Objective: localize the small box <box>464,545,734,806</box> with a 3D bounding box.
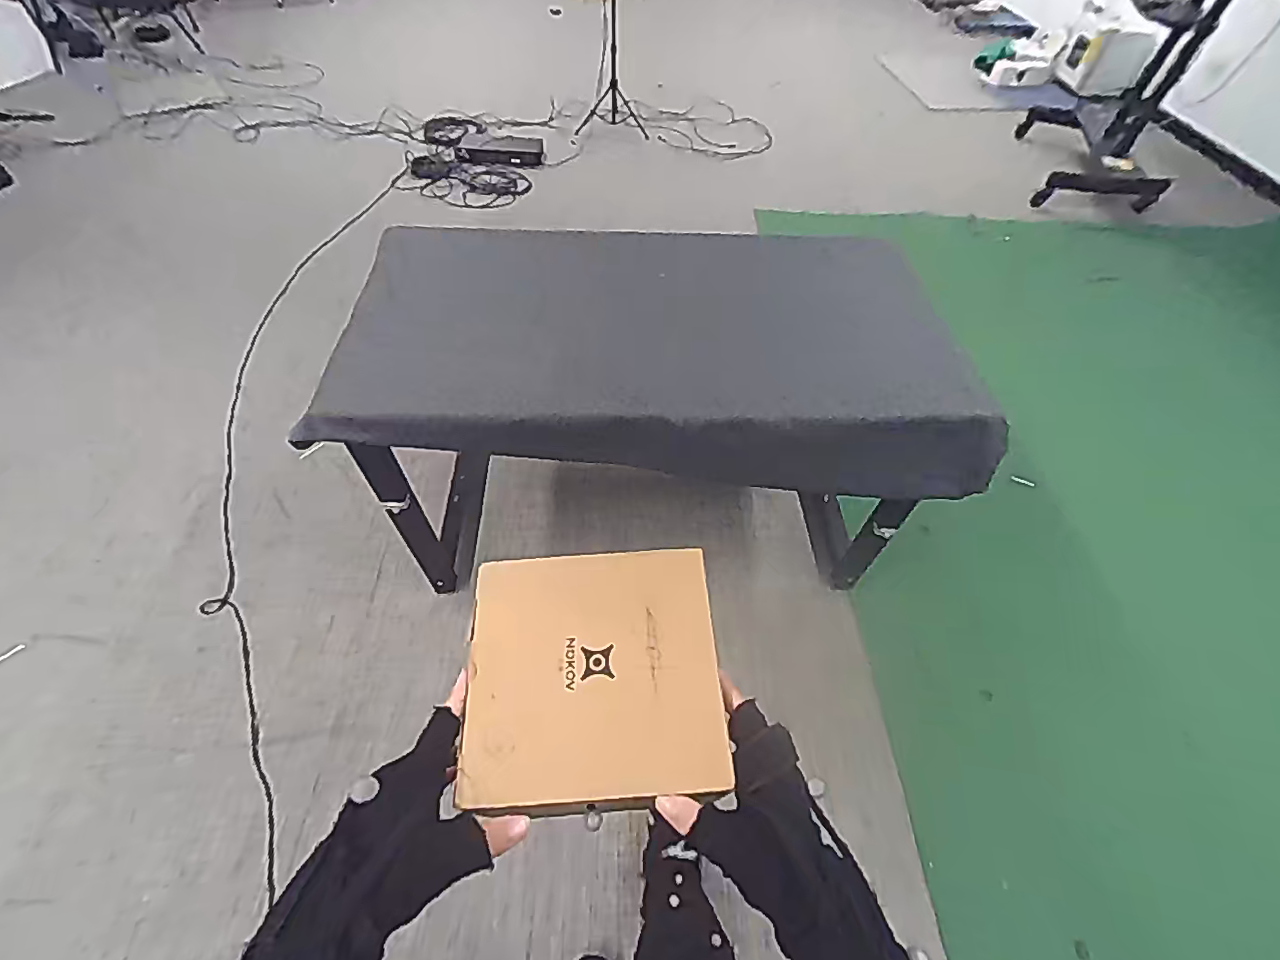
[{"bbox_3d":[-0.031,0.169,0.451,0.179,0.176,0.168,-4,58,-3],"label":"small box"}]
